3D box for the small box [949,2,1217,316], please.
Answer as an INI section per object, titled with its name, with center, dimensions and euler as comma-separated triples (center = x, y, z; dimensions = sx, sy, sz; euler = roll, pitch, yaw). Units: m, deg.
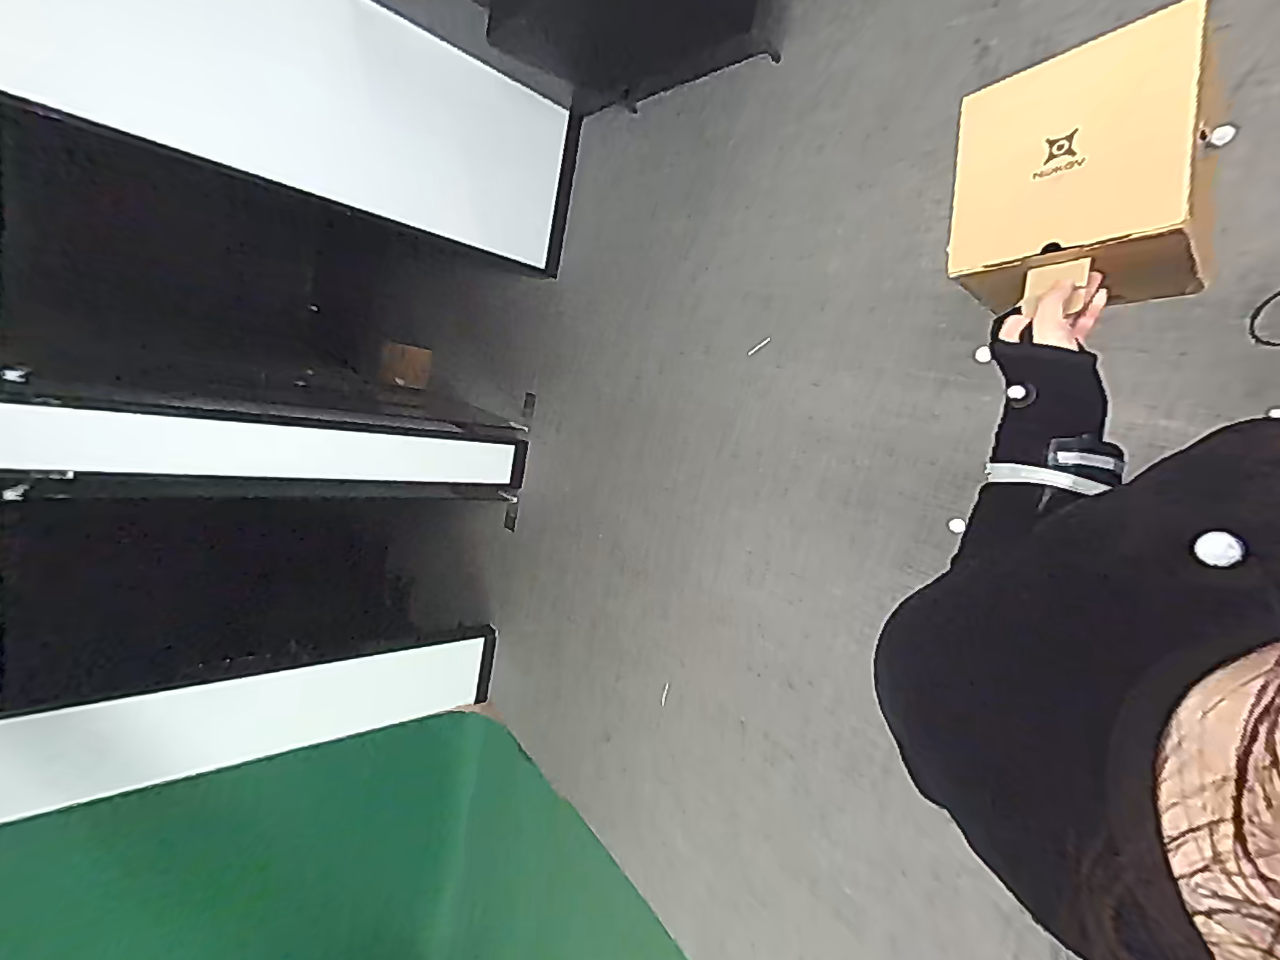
[small box]
center = 0.422, -0.274, 0.515
dimensions = 0.168, 0.176, 0.179
euler = 7, 92, 49
